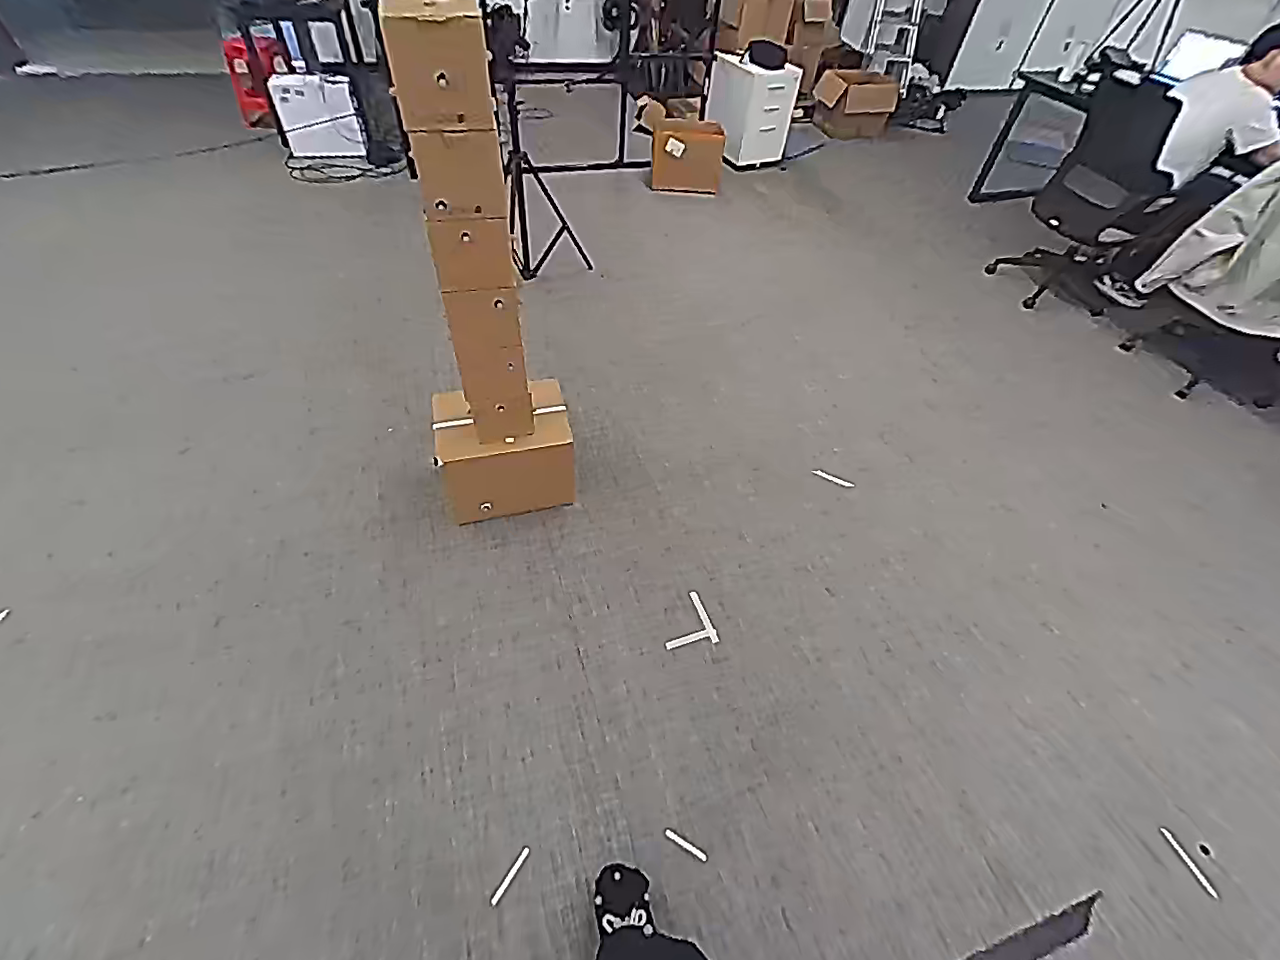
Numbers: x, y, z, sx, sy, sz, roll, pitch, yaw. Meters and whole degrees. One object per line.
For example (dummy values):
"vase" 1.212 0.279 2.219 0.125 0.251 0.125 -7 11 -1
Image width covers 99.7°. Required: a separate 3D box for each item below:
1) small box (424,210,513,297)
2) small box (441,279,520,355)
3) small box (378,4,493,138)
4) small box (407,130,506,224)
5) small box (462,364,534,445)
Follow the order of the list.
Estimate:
"small box" -0.393 -0.544 1.256 0.179 0.176 0.168 -9 52 -12
"small box" -0.404 -0.439 1.378 0.179 0.176 0.168 -9 51 -13
"small box" -0.375 -0.756 1.006 0.168 0.176 0.179 -10 52 -13
"small box" -0.380 -0.652 1.133 0.168 0.176 0.179 -9 51 -12
"small box" -0.423 -0.224 1.626 0.179 0.176 0.168 -11 52 -16
